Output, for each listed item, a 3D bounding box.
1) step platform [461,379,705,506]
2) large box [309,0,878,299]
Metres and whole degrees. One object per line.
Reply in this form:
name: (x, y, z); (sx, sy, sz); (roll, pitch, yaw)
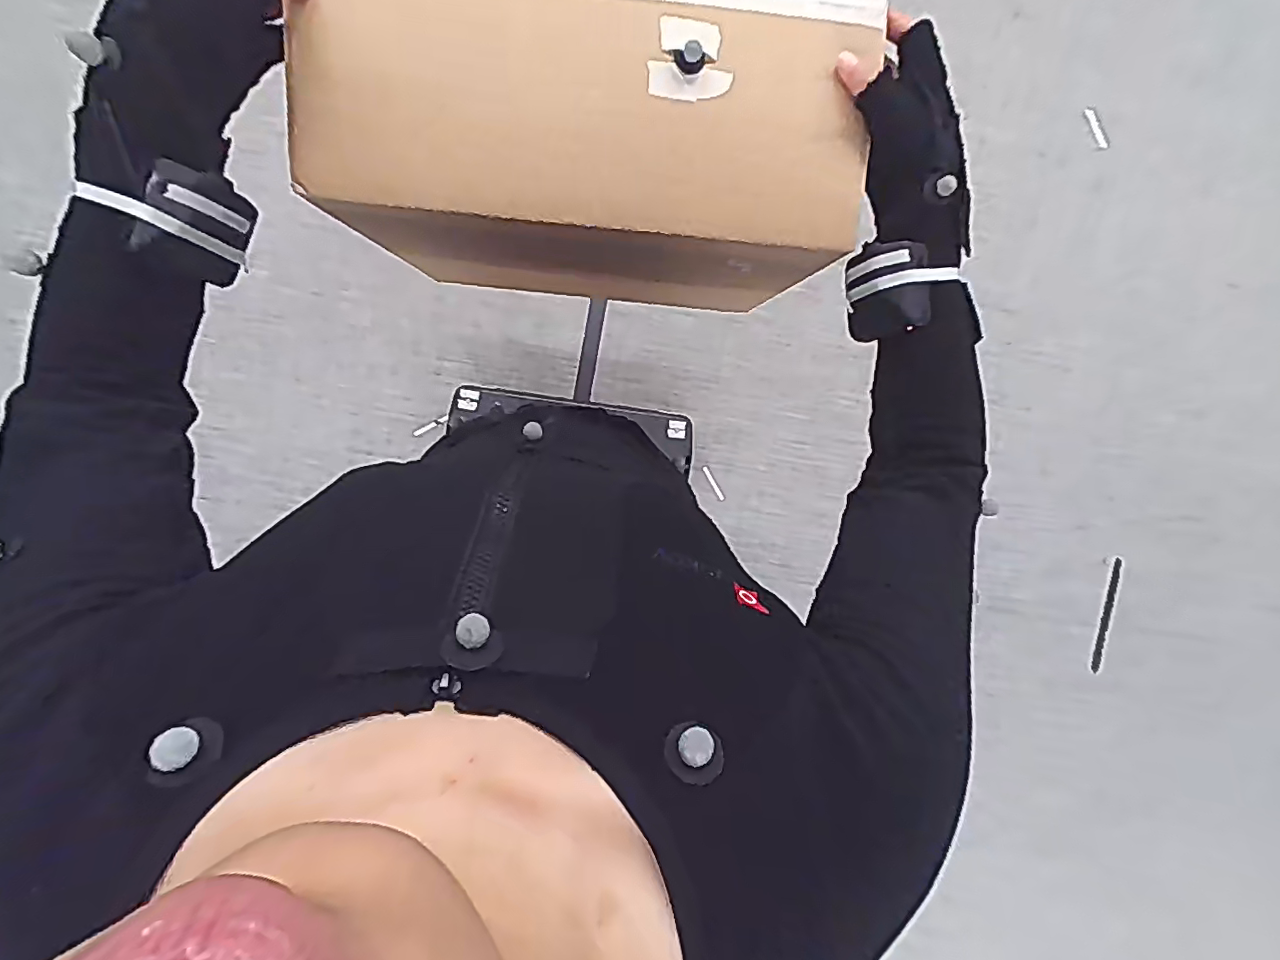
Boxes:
step platform: (-0.158, -0.106, 1.560); (0.684, 0.204, 0.286); (7, 95, -5)
large box: (-0.037, -0.373, 0.524); (0.408, 0.320, 0.320); (4, 100, -5)
